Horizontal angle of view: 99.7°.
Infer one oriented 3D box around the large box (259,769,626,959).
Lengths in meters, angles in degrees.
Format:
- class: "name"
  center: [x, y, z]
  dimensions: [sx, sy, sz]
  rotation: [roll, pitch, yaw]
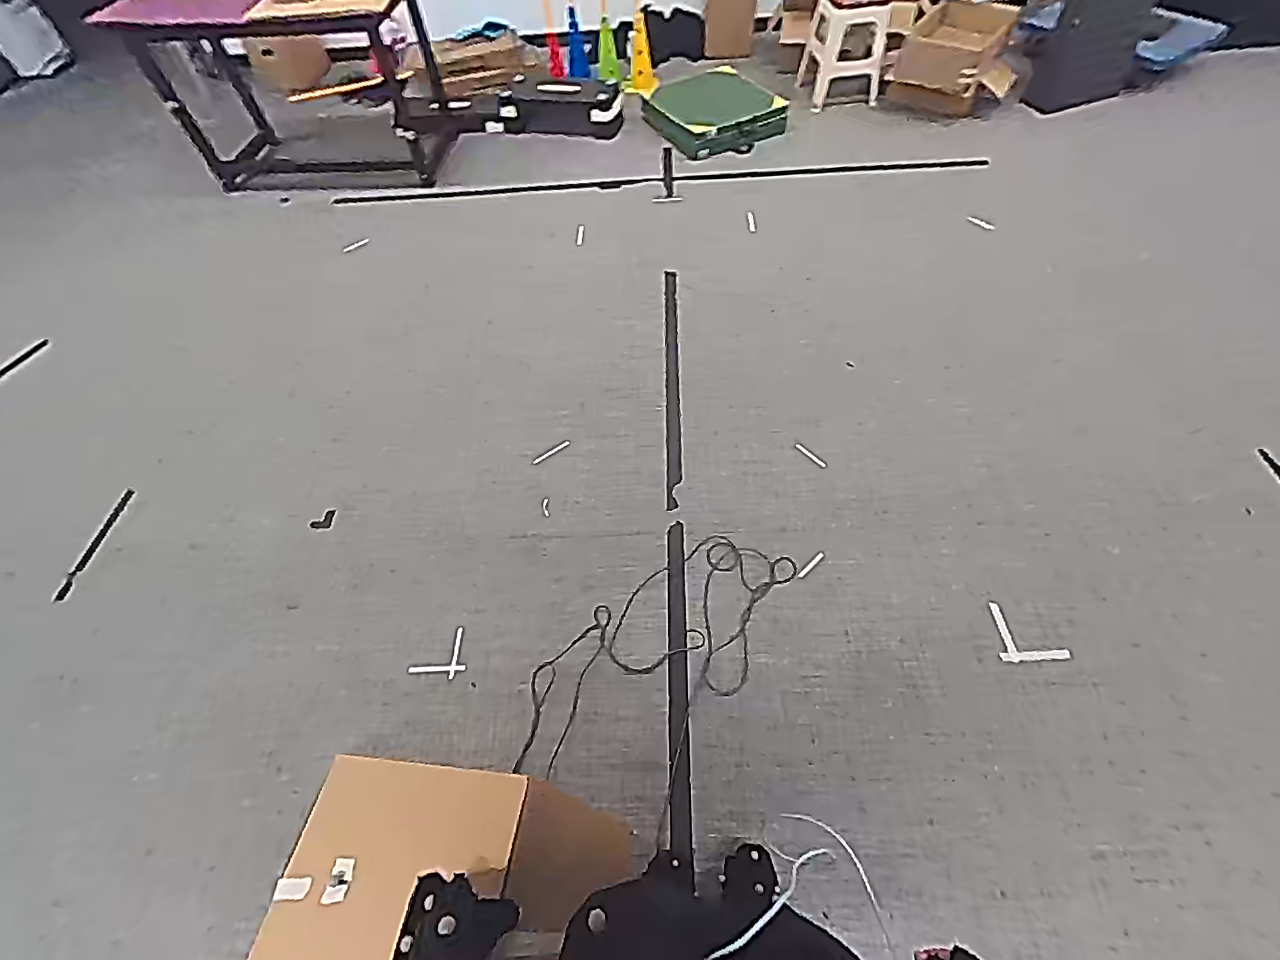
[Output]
- class: "large box"
  center: [-0.245, 0.627, 0.772]
  dimensions: [0.320, 0.408, 0.320]
  rotation: [-4, 51, 19]
